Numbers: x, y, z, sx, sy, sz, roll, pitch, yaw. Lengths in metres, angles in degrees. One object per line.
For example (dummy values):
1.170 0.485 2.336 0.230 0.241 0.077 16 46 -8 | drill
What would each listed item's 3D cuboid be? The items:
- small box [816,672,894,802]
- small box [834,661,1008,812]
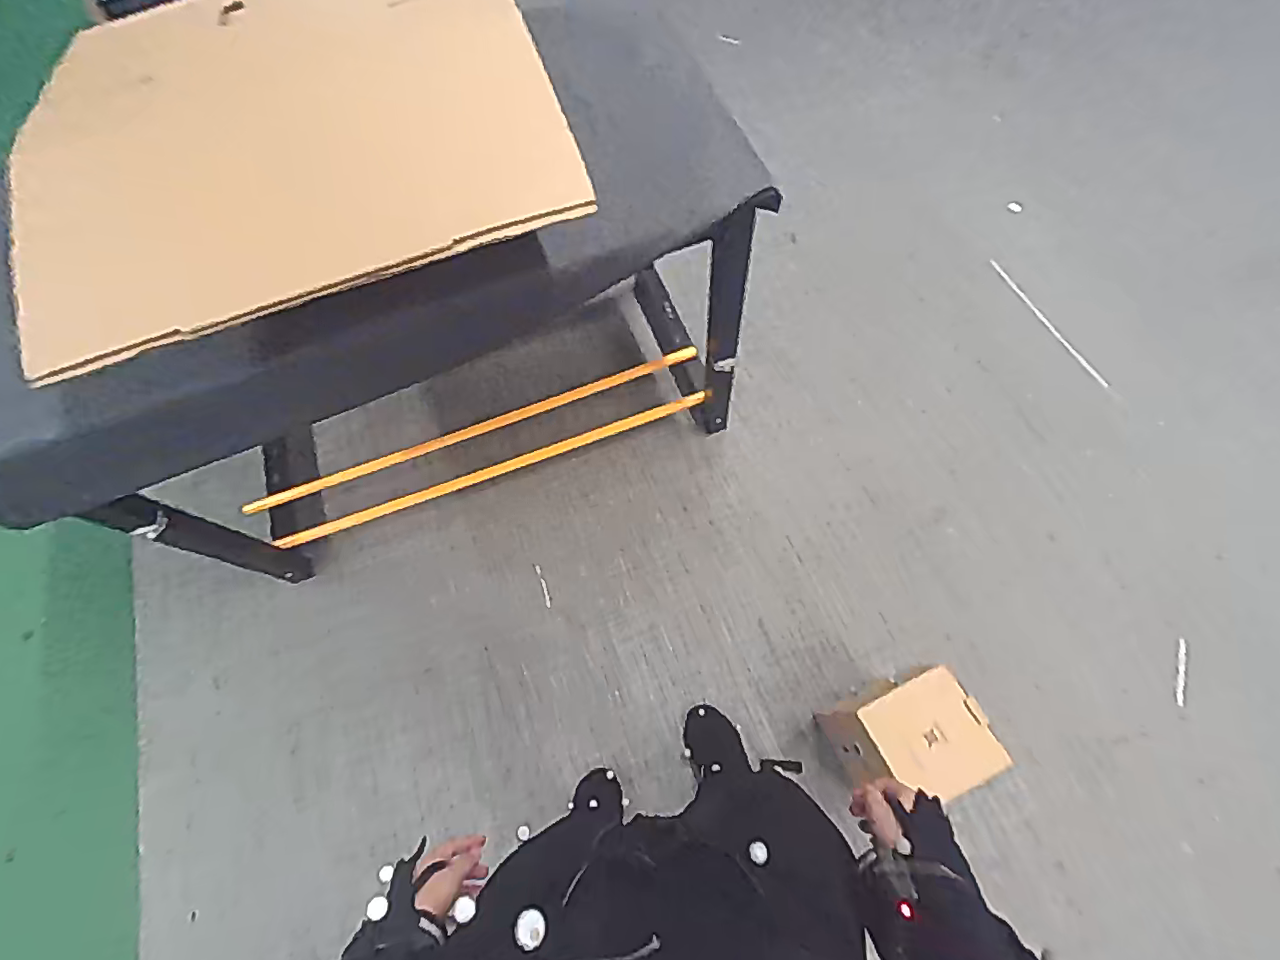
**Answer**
0.477 0.504 1.074 0.168 0.176 0.179 -26 67 -6 | small box
0.465 0.430 0.928 0.179 0.176 0.168 -27 67 -6 | small box
